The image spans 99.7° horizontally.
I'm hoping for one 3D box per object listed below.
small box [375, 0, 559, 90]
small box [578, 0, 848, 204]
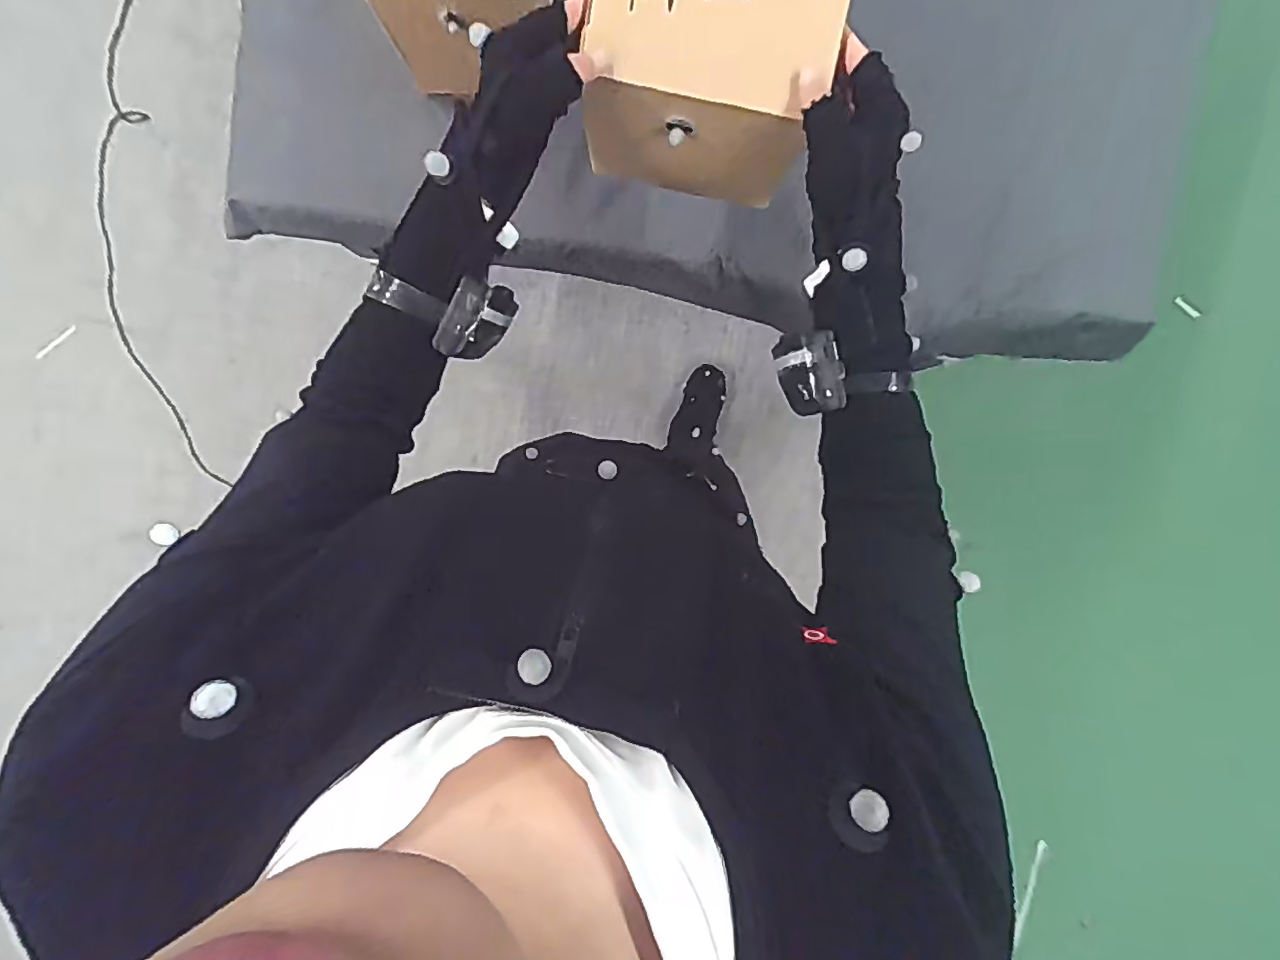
[{"bbox_3d":[-0.192,-0.572,0.605,0.179,0.176,0.168,1,96,1],"label":"small box"},{"bbox_3d":[0.055,-0.351,0.442,0.179,0.176,0.168,10,98,-4],"label":"small box"}]
